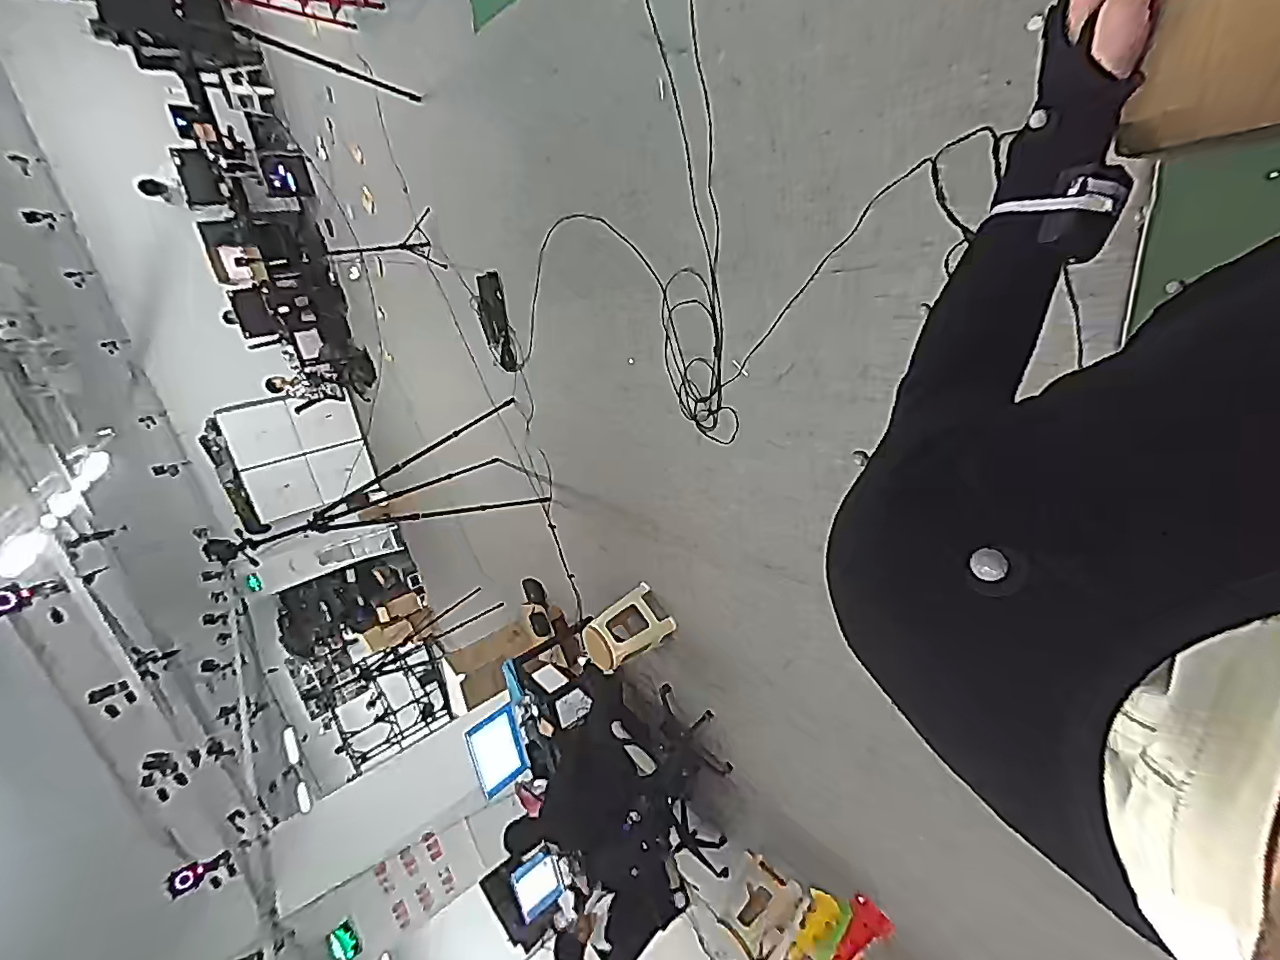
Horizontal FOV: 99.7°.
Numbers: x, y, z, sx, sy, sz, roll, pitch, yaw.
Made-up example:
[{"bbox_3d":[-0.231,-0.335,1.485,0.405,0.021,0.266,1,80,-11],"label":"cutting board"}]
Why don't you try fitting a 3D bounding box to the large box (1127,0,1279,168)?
[{"bbox_3d":[0.615,-0.429,0.348,0.408,0.320,0.320,11,119,45],"label":"large box"}]
